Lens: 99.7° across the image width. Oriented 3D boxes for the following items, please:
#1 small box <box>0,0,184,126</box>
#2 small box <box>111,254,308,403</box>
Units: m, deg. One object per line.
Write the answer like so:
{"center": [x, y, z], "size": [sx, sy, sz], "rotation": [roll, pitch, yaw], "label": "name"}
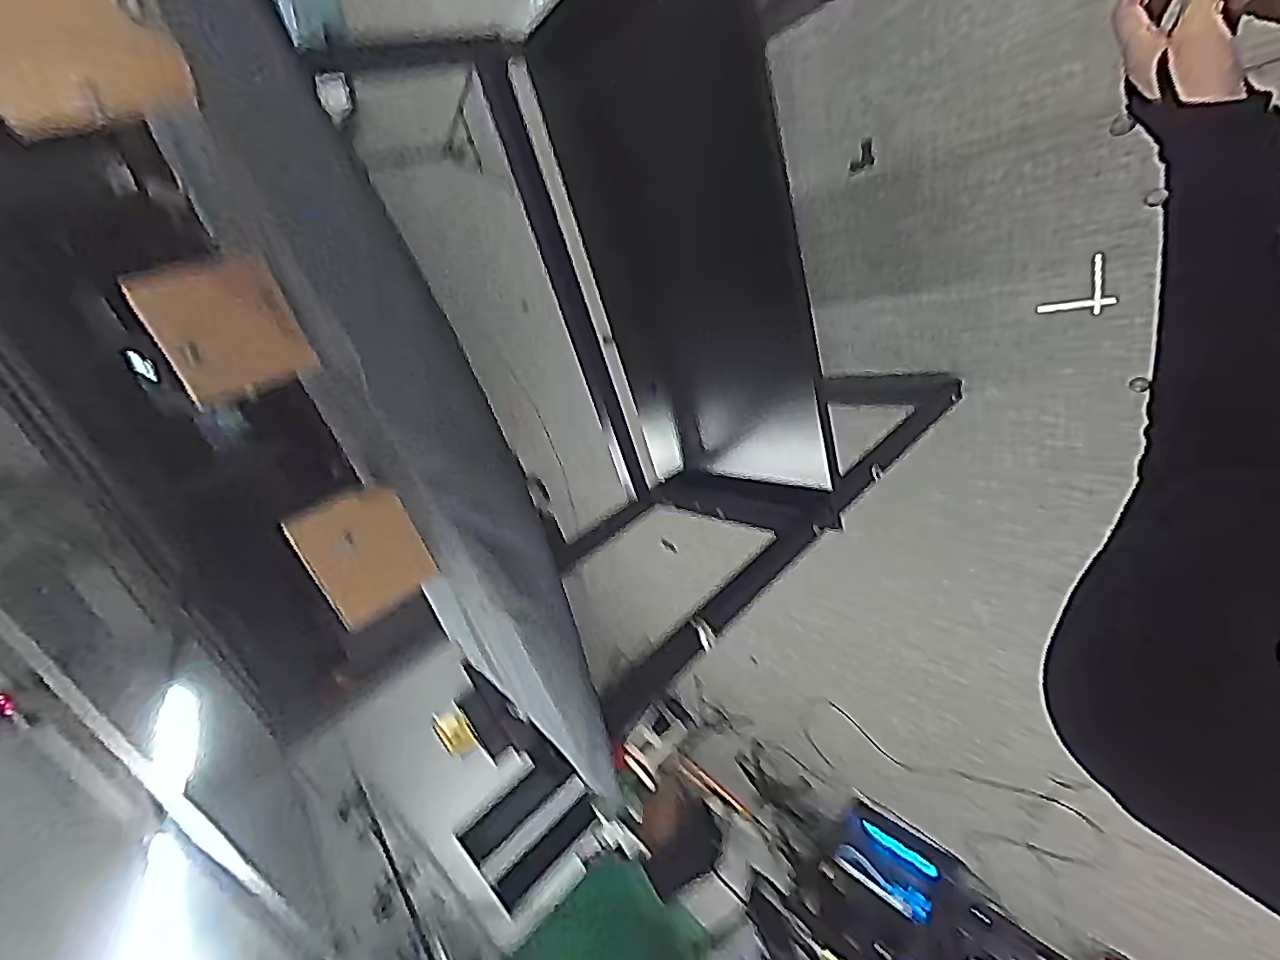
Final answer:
{"center": [-0.555, -0.451, 0.485], "size": [0.179, 0.176, 0.168], "rotation": [18, 133, 51], "label": "small box"}
{"center": [-0.636, -0.225, 0.819], "size": [0.179, 0.176, 0.168], "rotation": [10, 127, 51], "label": "small box"}
